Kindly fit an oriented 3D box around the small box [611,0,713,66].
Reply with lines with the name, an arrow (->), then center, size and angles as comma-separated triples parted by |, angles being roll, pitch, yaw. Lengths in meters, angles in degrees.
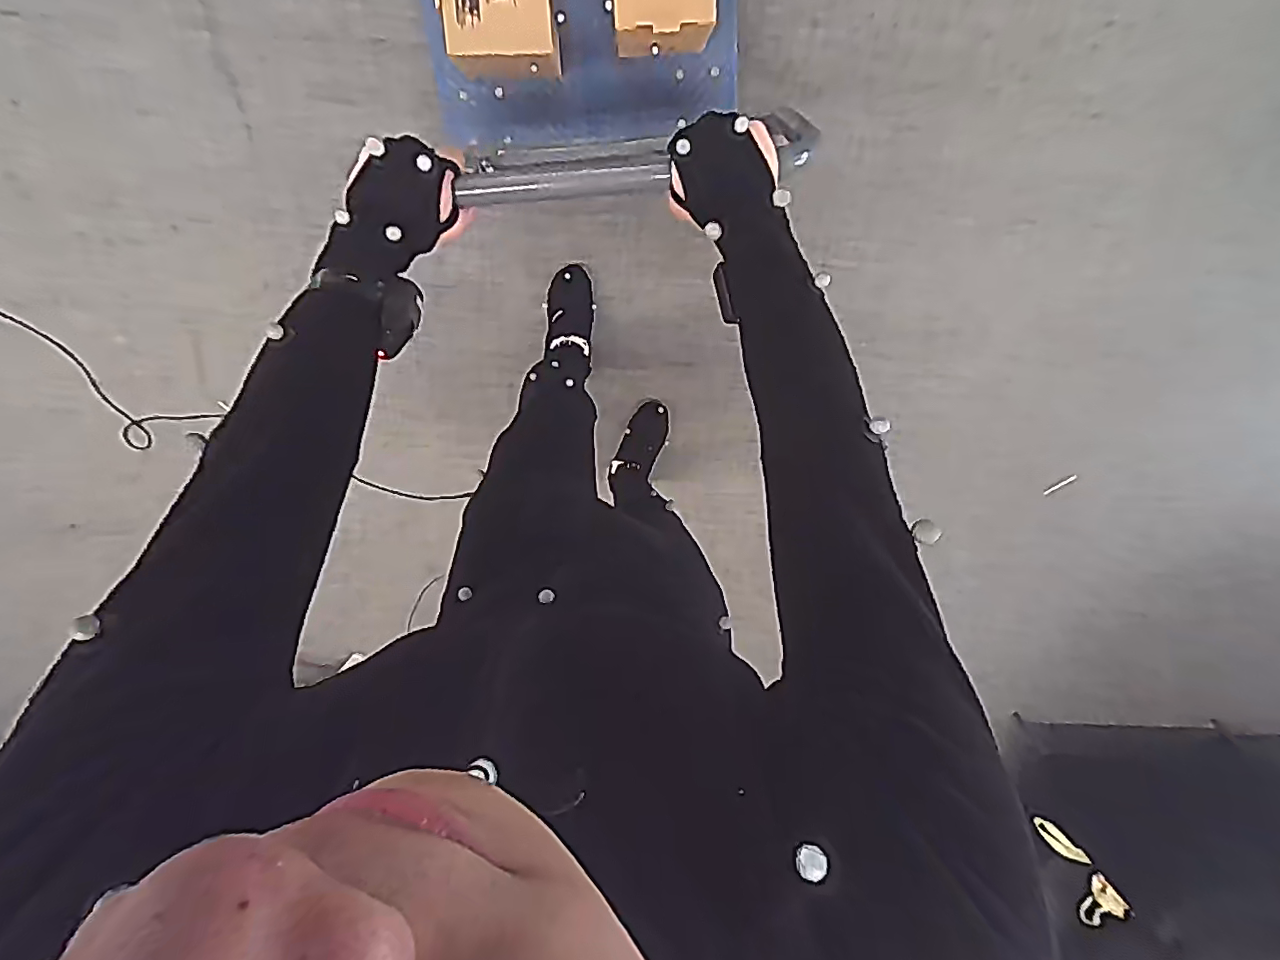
small box -> 0.033, -0.852, 0.939 | 0.168, 0.176, 0.179 | -4, 116, 0
